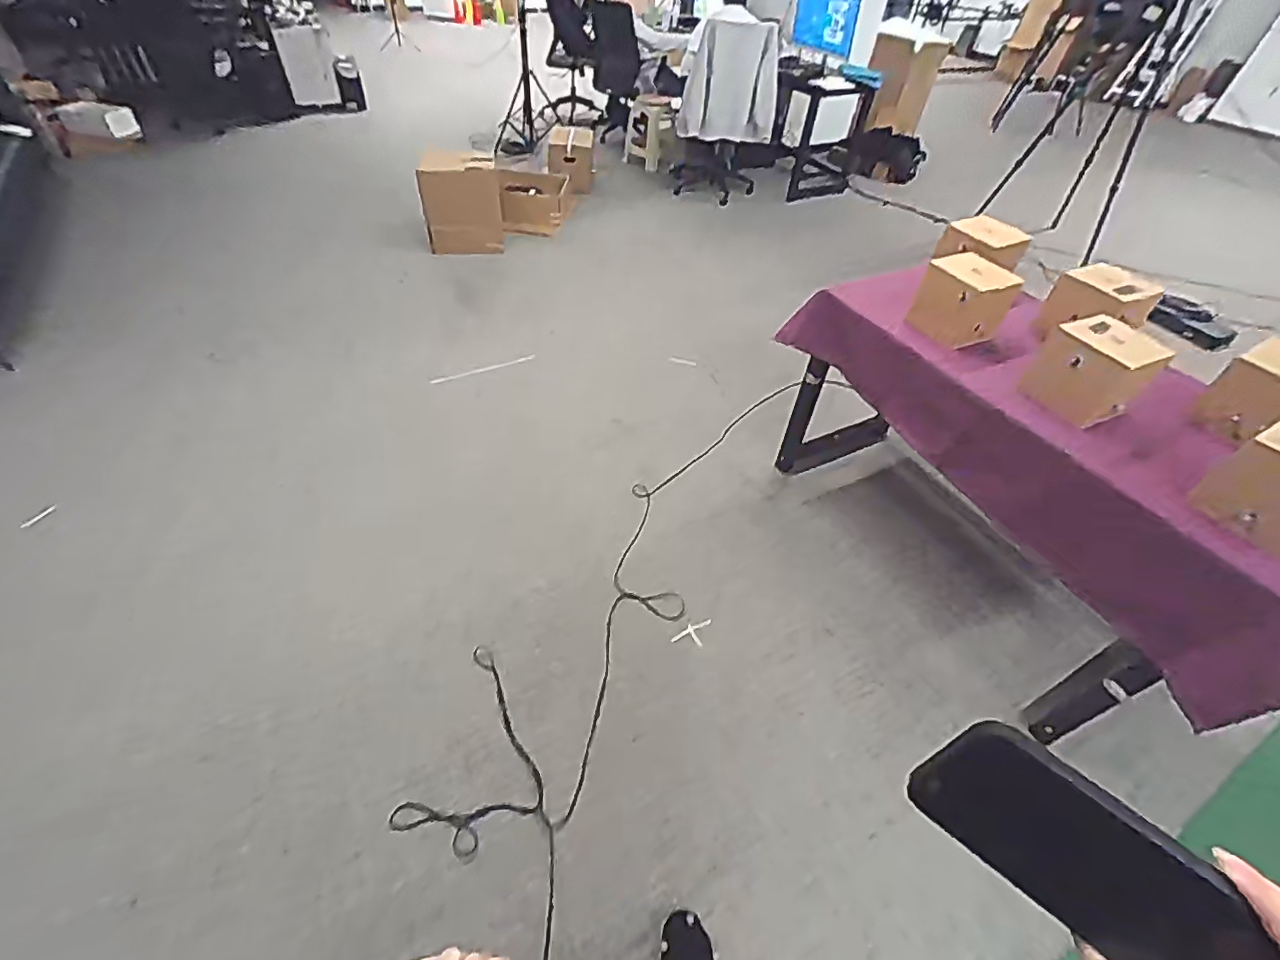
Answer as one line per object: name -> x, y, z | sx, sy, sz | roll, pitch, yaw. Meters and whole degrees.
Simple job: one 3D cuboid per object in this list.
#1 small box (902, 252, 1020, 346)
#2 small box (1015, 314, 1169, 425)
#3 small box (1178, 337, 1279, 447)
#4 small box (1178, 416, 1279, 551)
small box -> 0.843, -0.482, 1.442 | 0.168, 0.176, 0.179 | -18, 52, -21
small box -> 1.022, -0.254, 1.240 | 0.168, 0.176, 0.179 | -16, 51, -19
small box -> 1.380, -0.189, 1.209 | 0.179, 0.176, 0.168 | -21, 51, -23
small box -> 1.186, 0.010, 1.004 | 0.168, 0.176, 0.179 | -19, 51, -22
